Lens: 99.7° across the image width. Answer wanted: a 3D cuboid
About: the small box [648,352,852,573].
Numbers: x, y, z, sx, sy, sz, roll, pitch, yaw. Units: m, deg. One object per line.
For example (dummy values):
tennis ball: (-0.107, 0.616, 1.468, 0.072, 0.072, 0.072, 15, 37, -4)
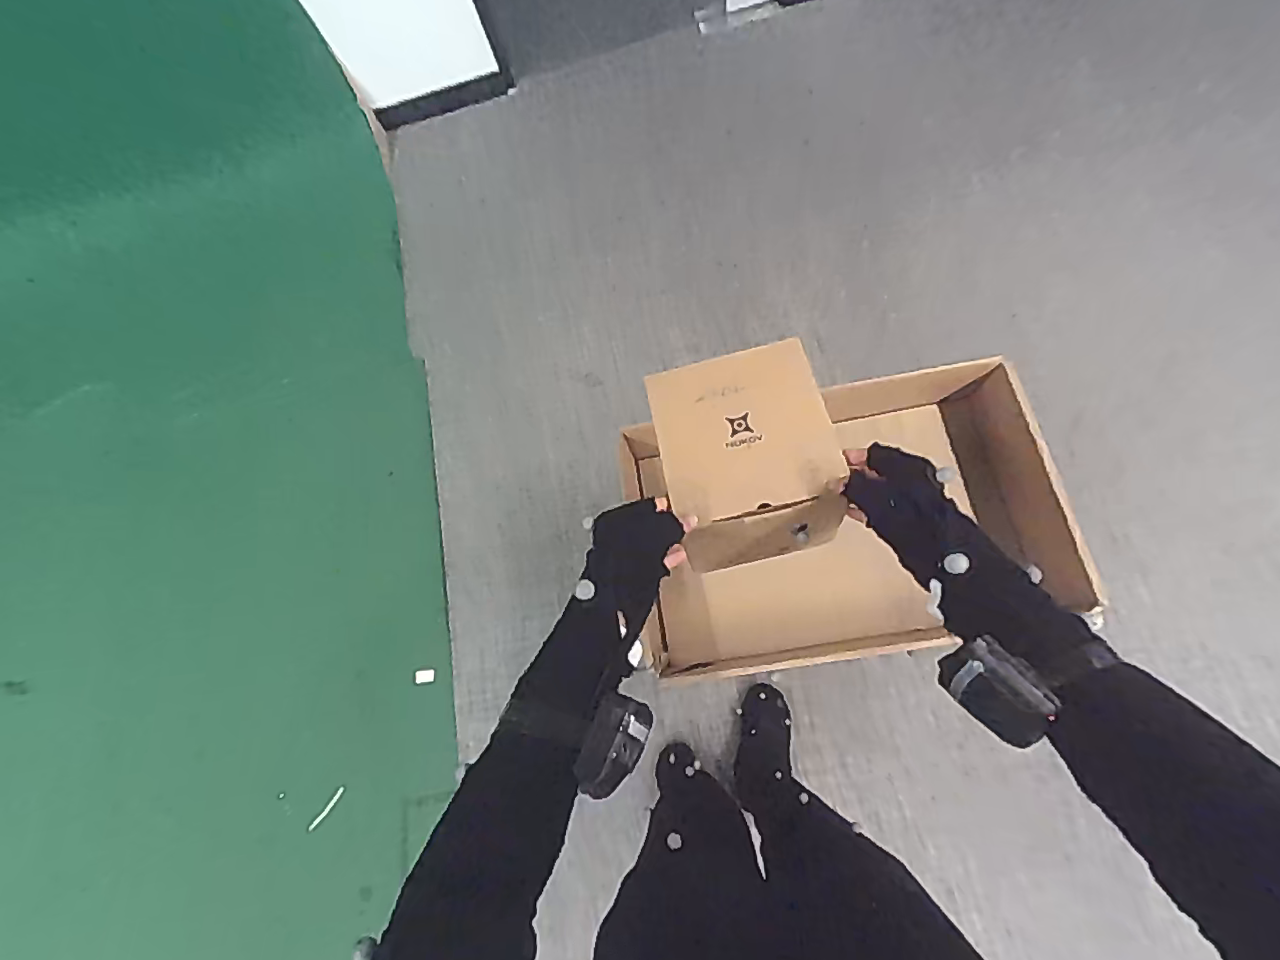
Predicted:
small box: (0.116, -0.006, 0.602, 0.168, 0.176, 0.179, -14, 63, 5)
